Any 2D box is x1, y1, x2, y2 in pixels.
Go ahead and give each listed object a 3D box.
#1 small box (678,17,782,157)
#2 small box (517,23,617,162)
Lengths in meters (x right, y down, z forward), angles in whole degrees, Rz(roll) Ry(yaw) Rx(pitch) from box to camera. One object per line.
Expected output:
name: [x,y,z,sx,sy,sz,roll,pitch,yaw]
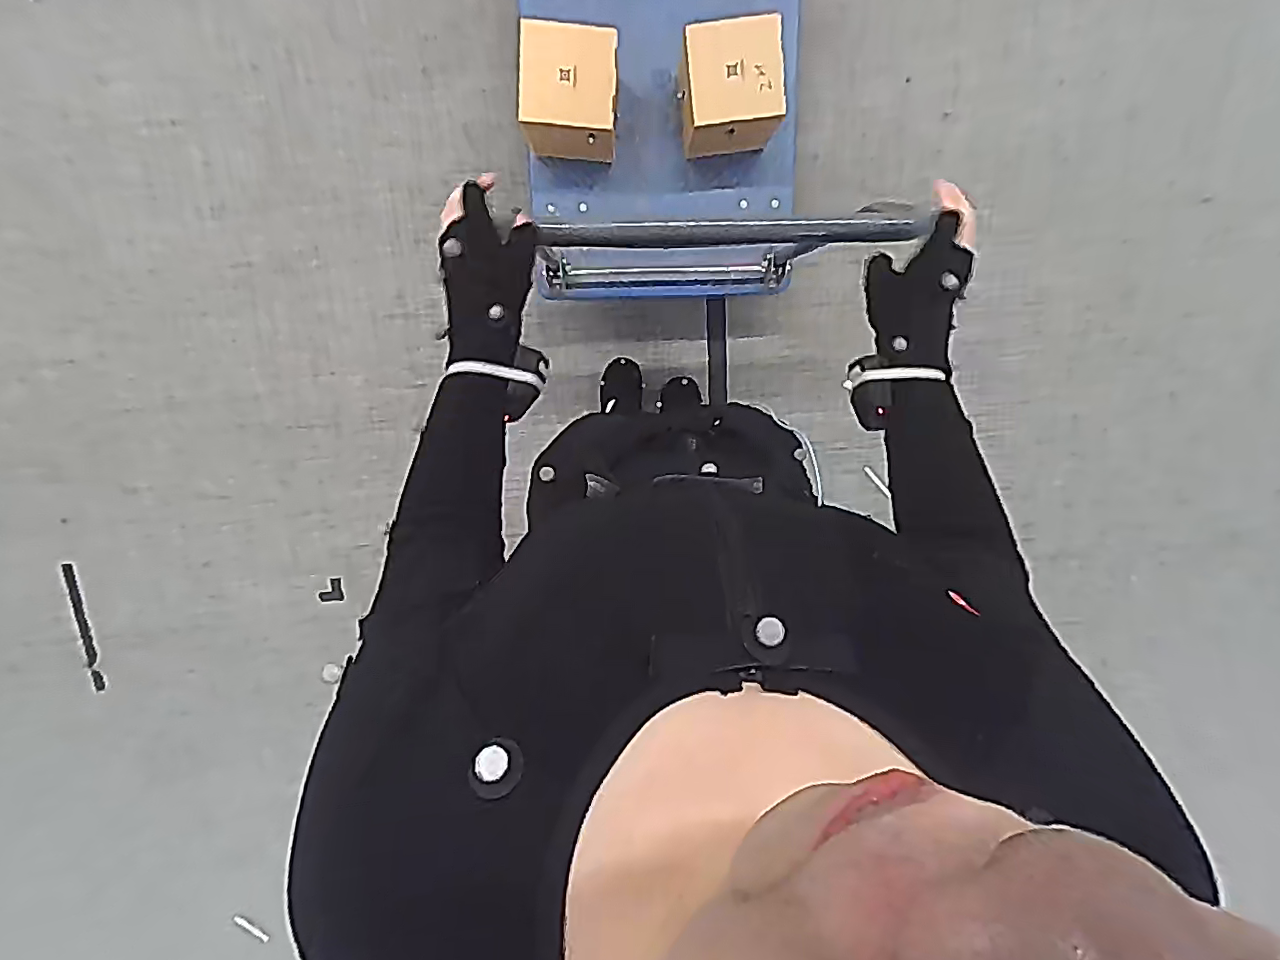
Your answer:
small box: [0.169,-0.761,1.068,0.179,0.176,0.168,-7,103,0]
small box: [-0.137,-0.748,1.063,0.179,0.176,0.168,3,102,-4]
